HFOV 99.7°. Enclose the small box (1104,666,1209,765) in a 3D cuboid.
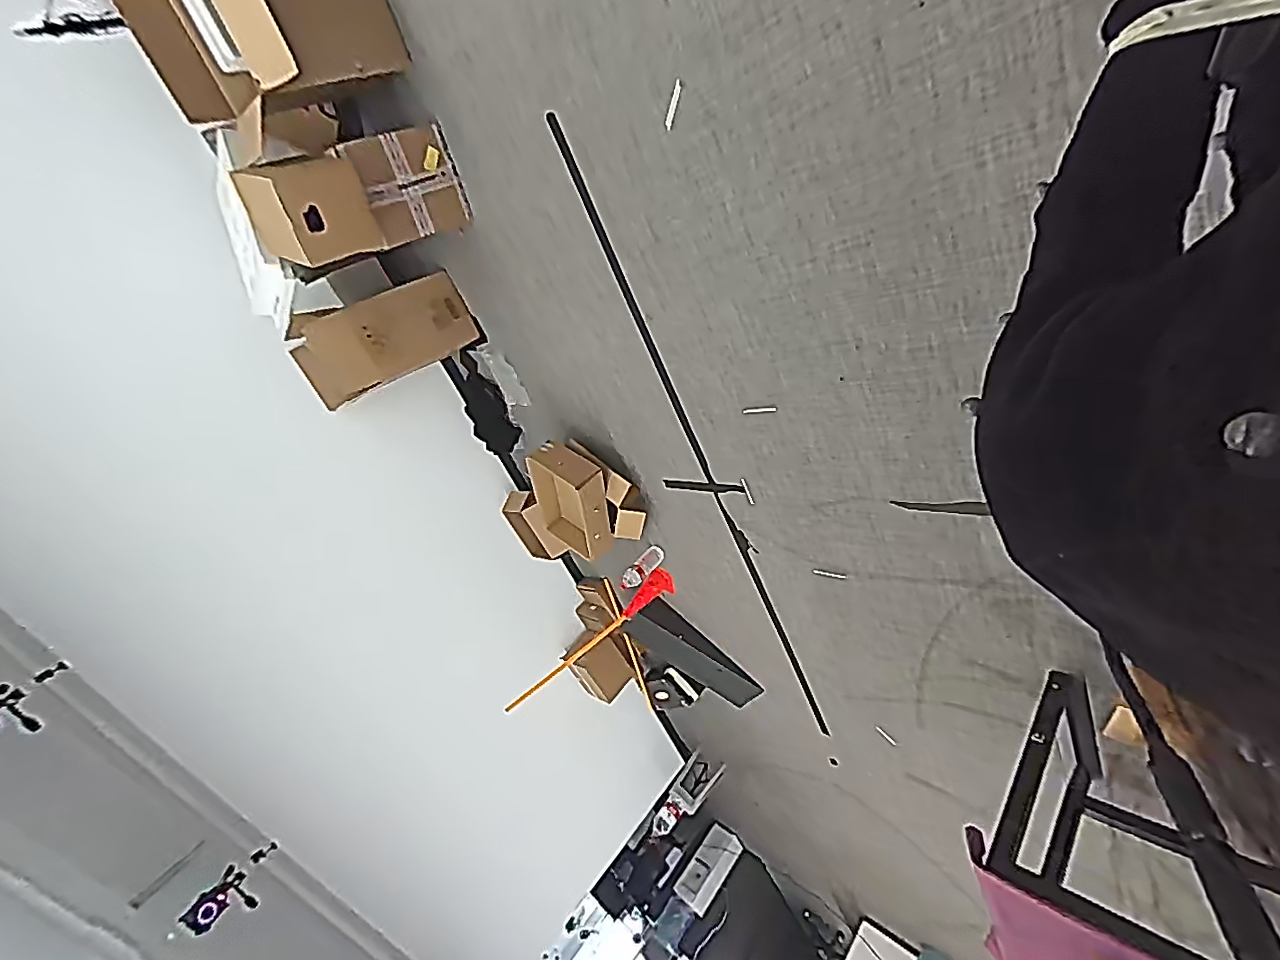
[{"bbox_3d":[1.498,0.672,1.570,0.179,0.176,0.168,20,138,38],"label":"small box"}]
